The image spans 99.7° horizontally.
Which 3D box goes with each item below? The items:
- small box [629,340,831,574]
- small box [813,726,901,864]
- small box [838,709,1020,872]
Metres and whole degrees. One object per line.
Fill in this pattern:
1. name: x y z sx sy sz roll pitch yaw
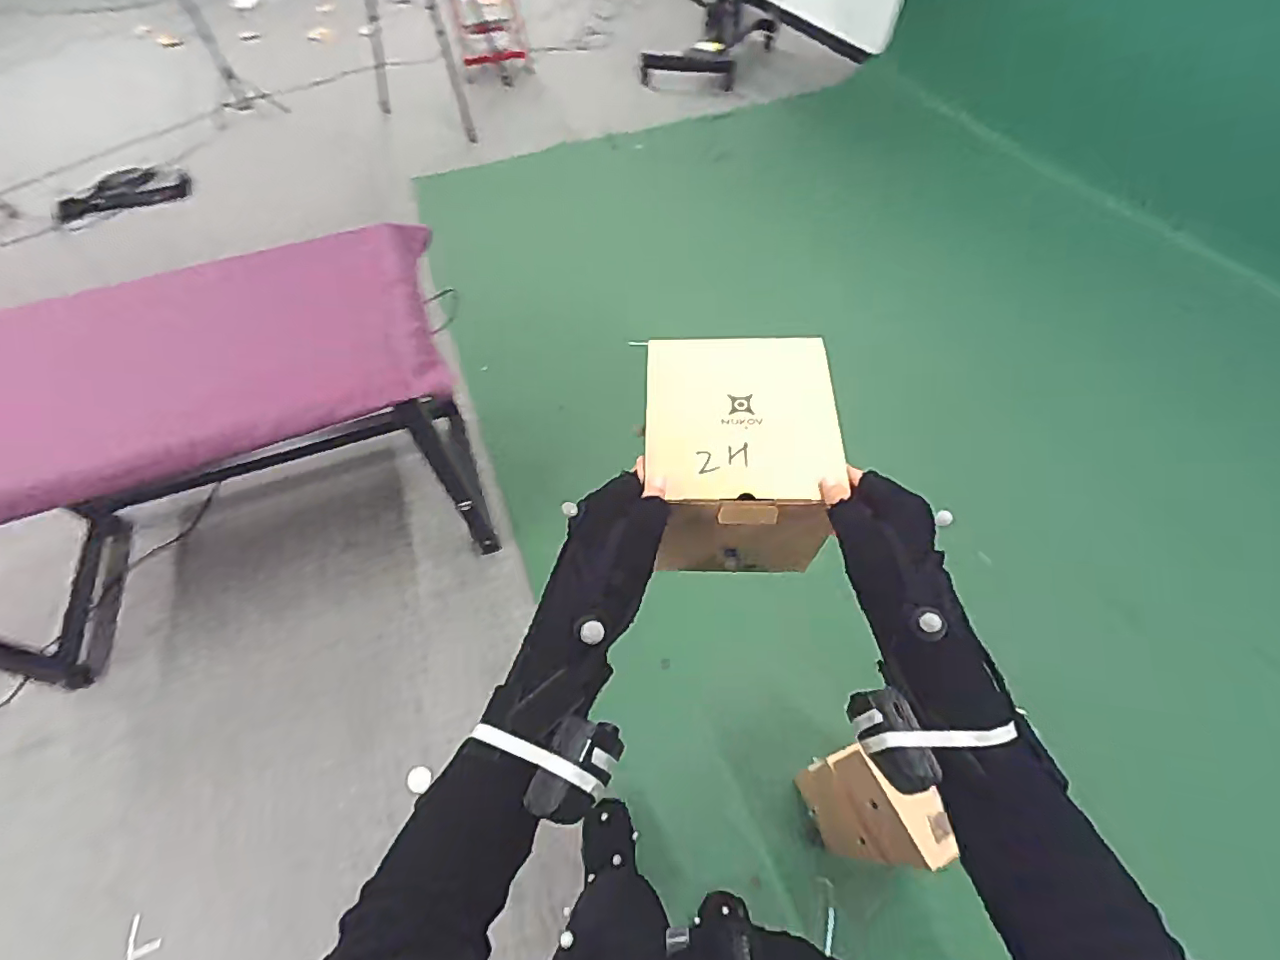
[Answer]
1. small box: 0.077 -0.018 0.544 0.168 0.176 0.179 -1 61 3
2. small box: 0.455 0.600 1.028 0.168 0.176 0.179 -19 57 -10
3. small box: 0.458 0.509 0.891 0.168 0.176 0.179 -20 56 -11
